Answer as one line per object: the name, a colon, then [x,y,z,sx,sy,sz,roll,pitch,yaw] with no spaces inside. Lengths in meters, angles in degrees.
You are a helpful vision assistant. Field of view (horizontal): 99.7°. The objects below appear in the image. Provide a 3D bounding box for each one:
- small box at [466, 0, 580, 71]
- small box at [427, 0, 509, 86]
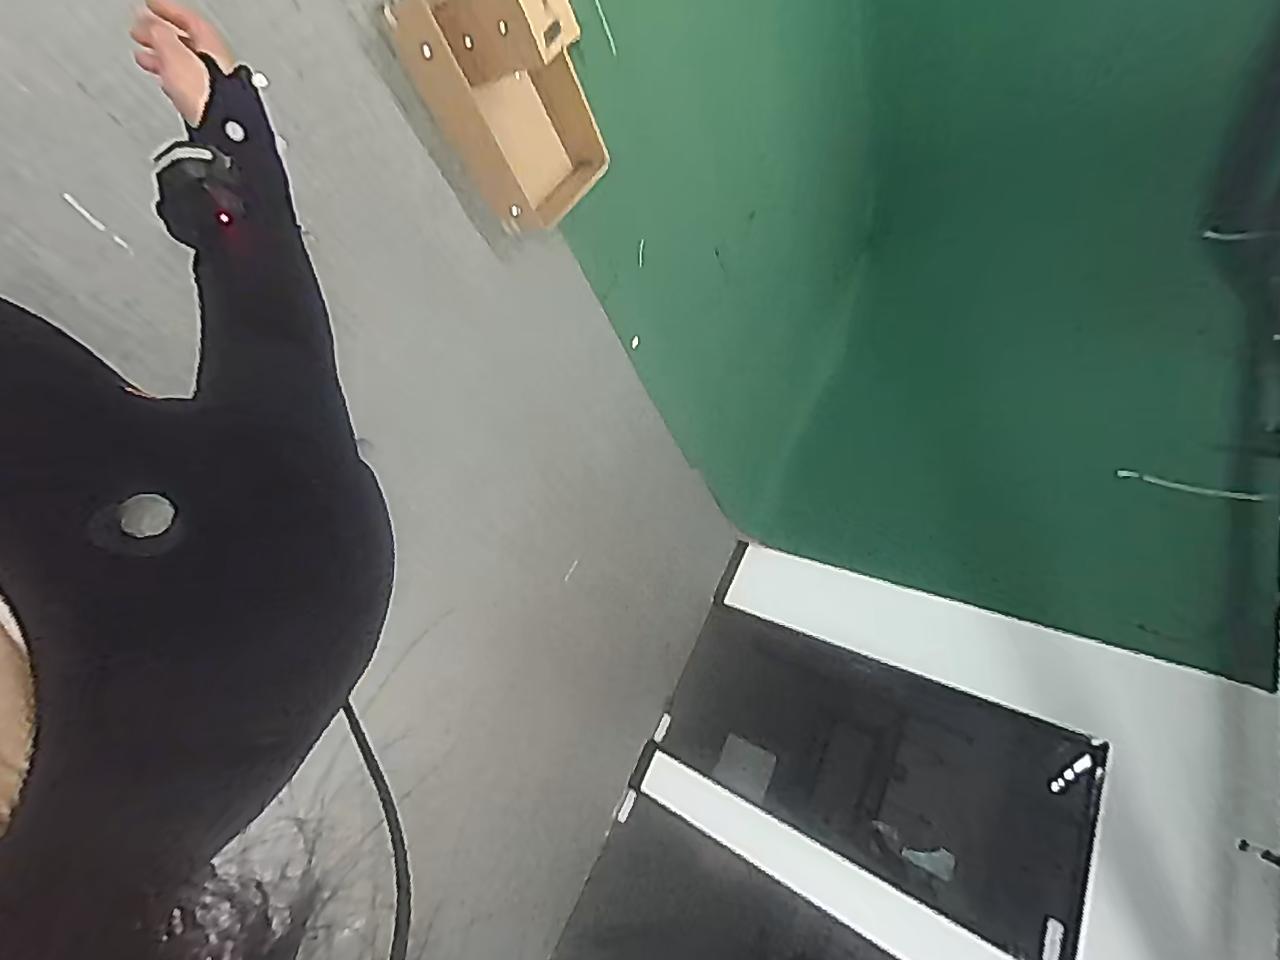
small box: [-0.284,-1.133,1.316,0.168,0.176,0.179,-58,142,-24]
small box: [-0.414,-1.172,1.410,0.168,0.176,0.179,-58,143,-22]
